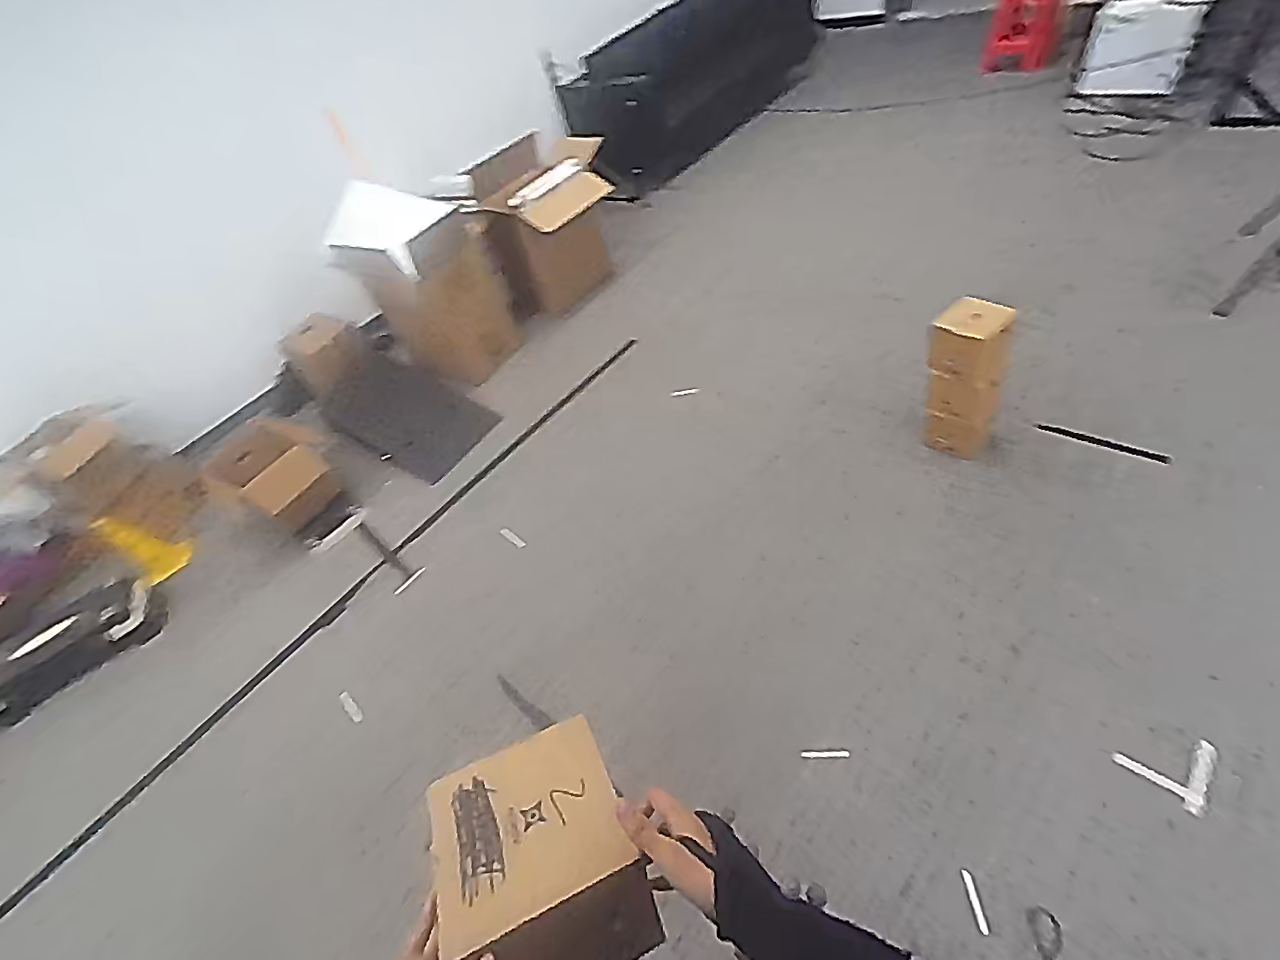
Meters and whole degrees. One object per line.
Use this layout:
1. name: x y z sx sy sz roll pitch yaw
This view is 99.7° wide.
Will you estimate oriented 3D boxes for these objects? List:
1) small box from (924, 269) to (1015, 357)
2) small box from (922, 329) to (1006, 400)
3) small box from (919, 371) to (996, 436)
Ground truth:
1. small box: 1.001 -0.513 1.659 0.179 0.176 0.168 -38 48 -14
2. small box: 1.048 -0.395 1.766 0.179 0.176 0.168 -42 49 -18
3. small box: 1.094 -0.285 1.876 0.168 0.176 0.179 30 65 37
